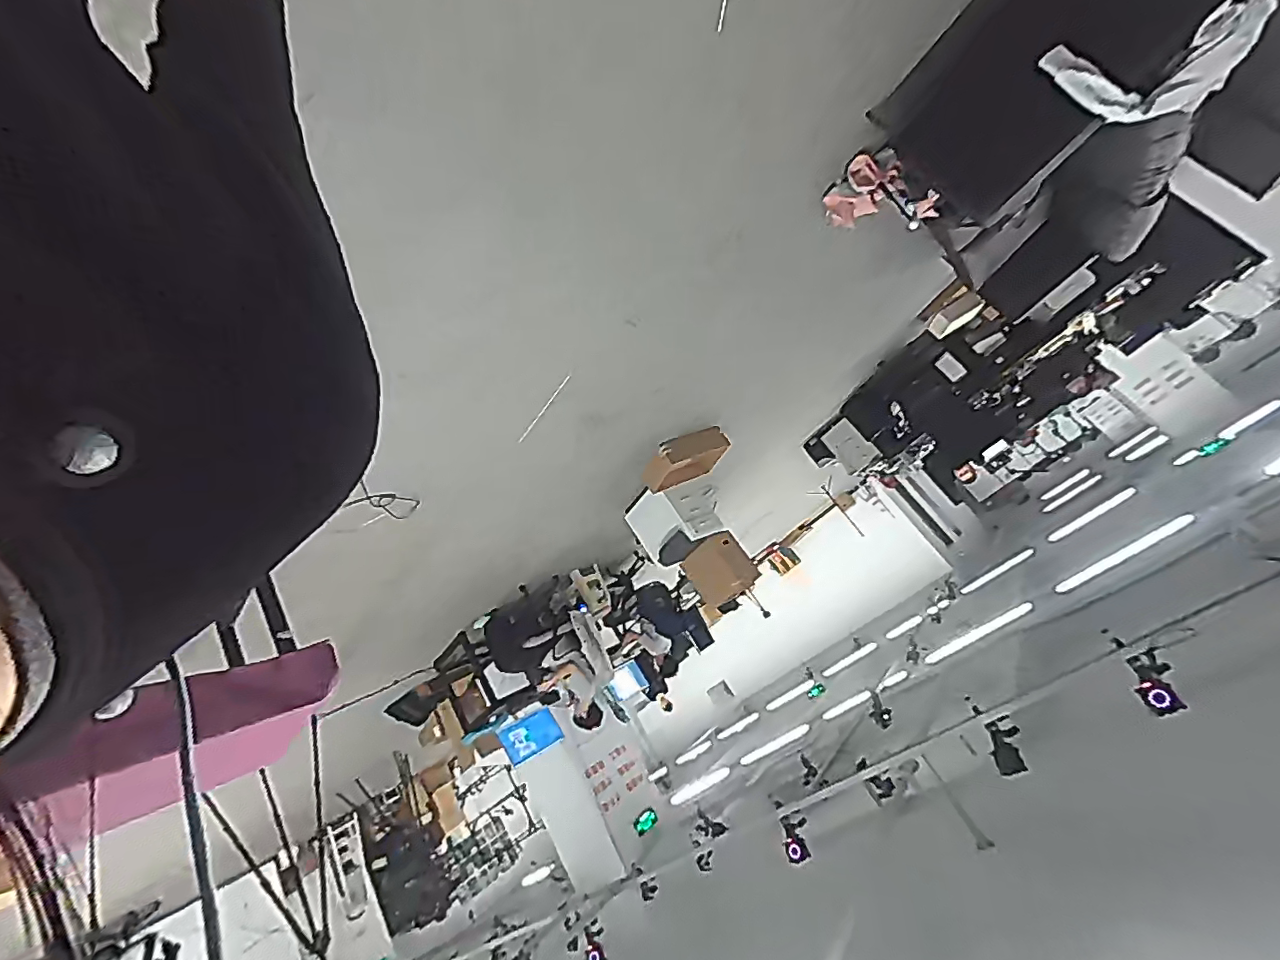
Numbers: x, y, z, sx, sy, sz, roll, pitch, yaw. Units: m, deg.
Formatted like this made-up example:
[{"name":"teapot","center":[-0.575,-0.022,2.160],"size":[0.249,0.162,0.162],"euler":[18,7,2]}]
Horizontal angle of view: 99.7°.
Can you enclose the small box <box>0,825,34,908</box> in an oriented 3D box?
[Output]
[{"name":"small box","center":[-1.784,1.072,1.458],"size":[0.179,0.176,0.168],"euler":[-44,159,26]}]
